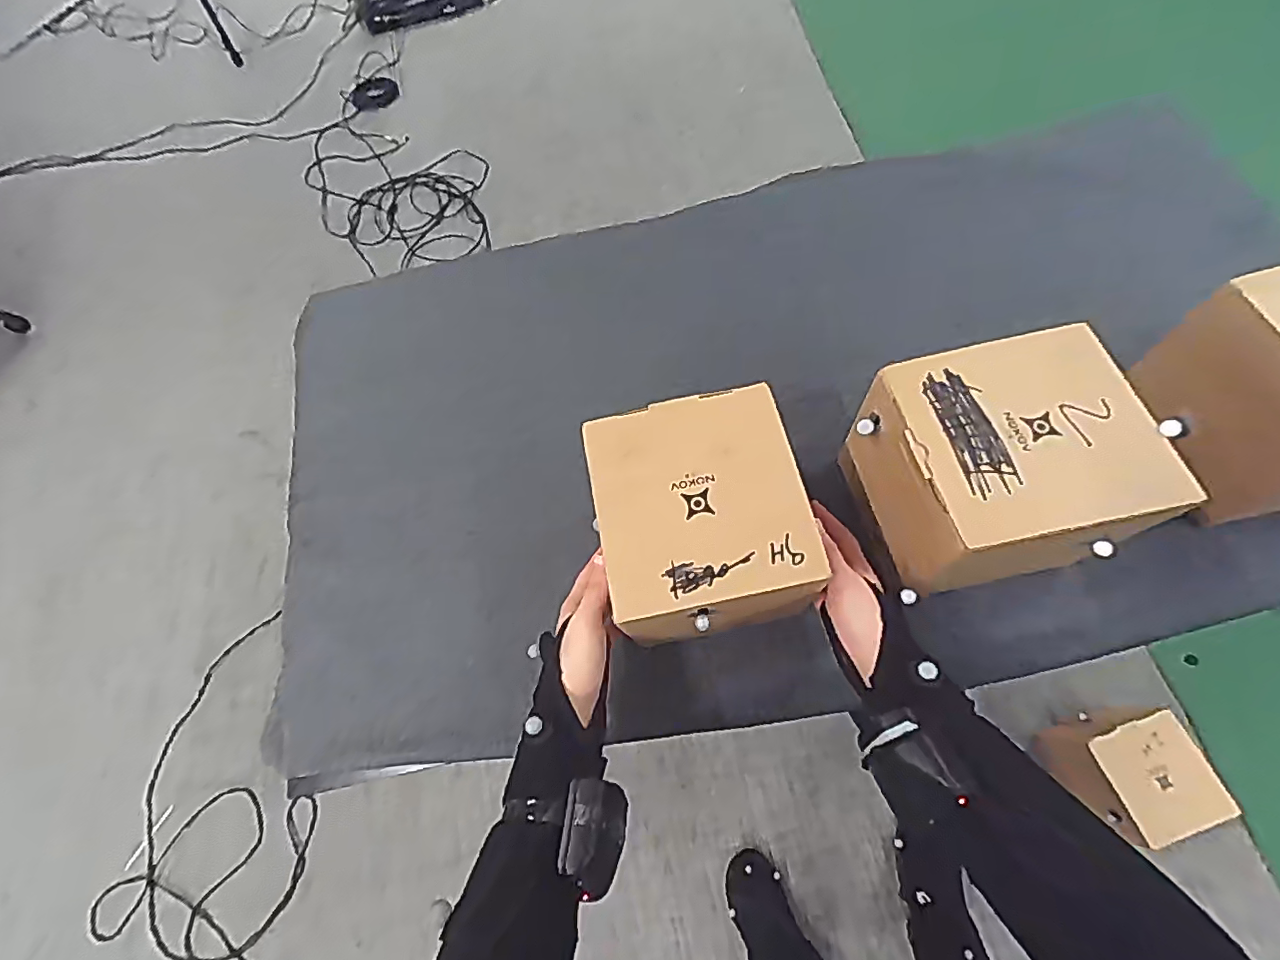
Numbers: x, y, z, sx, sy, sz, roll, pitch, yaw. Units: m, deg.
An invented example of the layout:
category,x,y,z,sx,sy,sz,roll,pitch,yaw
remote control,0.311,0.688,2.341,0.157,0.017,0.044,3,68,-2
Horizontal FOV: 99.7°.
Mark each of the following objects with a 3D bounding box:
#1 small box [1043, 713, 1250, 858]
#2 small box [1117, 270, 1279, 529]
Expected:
category,x,y,z,sx,sy,sz,roll,pitch,yaw
small box,0.896,0.539,0.980,0.168,0.176,0.179,-20,67,-1
small box,0.589,-0.073,0.469,0.179,0.176,0.168,-13,63,4
